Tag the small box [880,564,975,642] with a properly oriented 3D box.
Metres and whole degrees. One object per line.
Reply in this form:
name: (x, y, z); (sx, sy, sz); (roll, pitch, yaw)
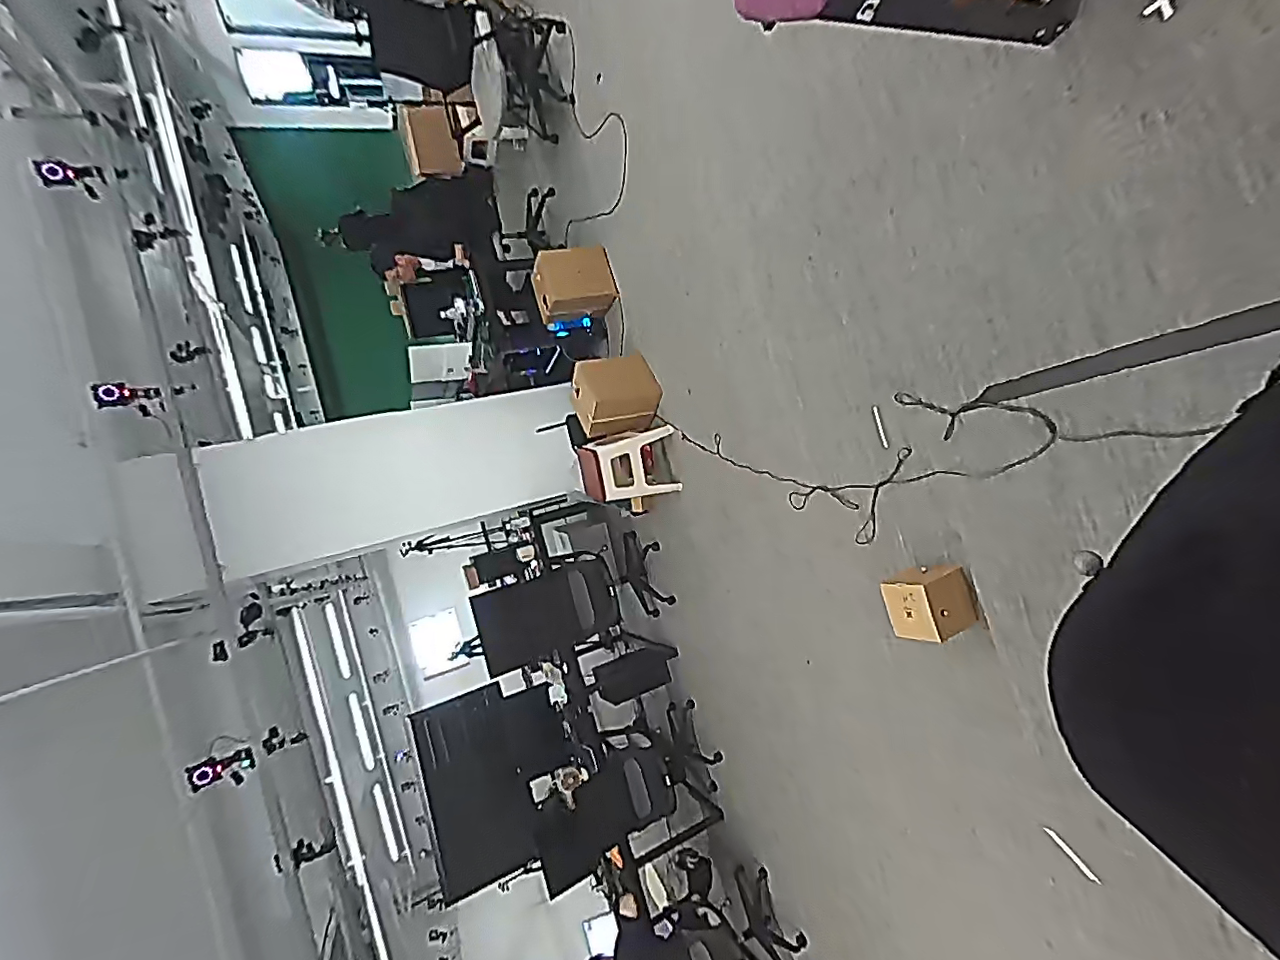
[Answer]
small box: (0.877, 0.368, 1.644); (0.168, 0.176, 0.179); (-20, 86, 66)
